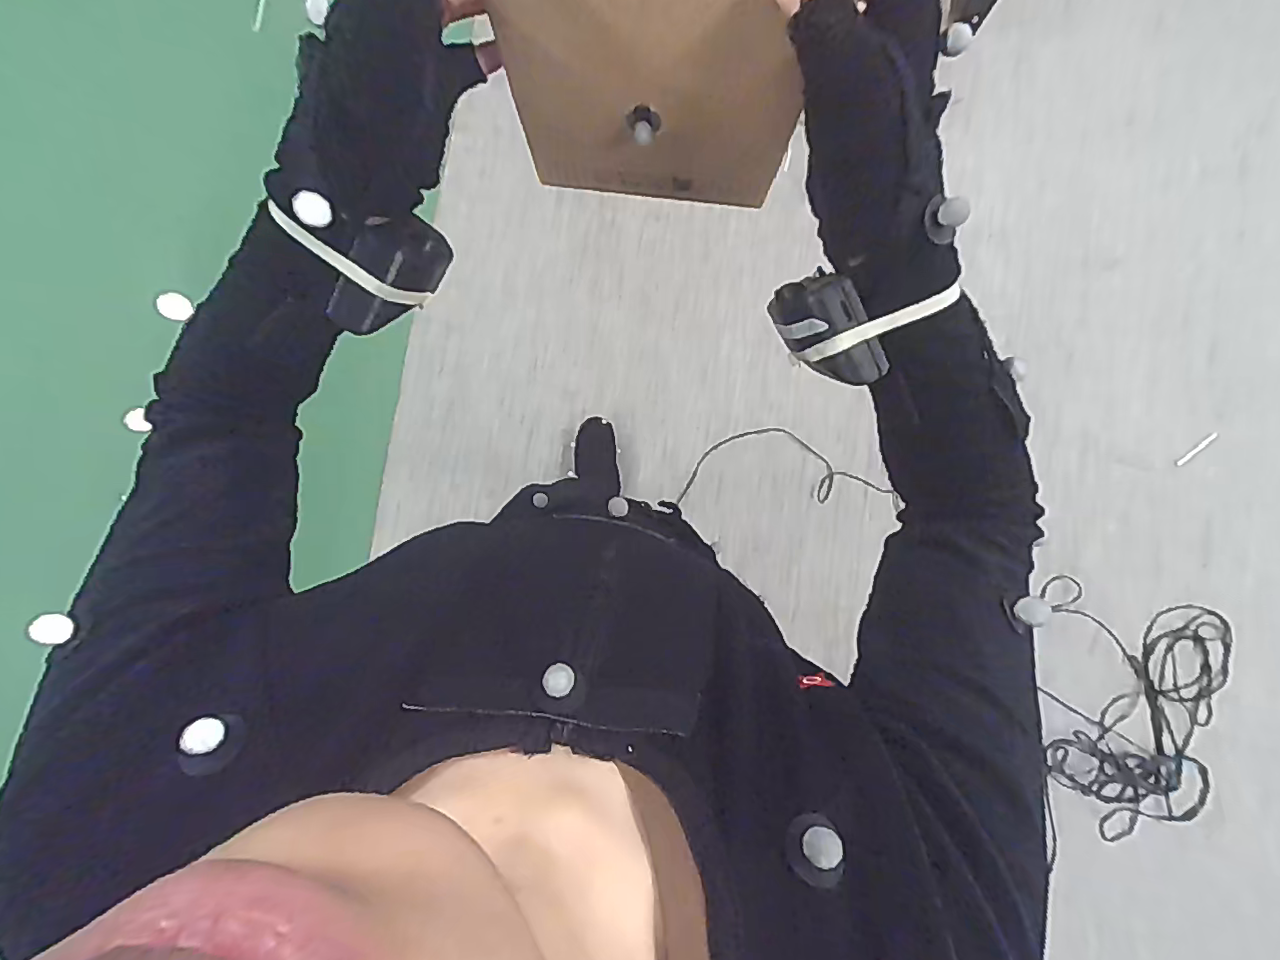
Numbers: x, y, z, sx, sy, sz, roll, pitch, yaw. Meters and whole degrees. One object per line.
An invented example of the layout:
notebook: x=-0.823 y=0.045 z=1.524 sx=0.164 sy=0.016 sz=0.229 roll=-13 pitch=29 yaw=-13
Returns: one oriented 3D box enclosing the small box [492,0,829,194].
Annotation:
small box: x=0.019 y=-0.304 z=0.323 sx=0.168 sy=0.176 sz=0.179 roll=6 pitch=86 yaw=0
